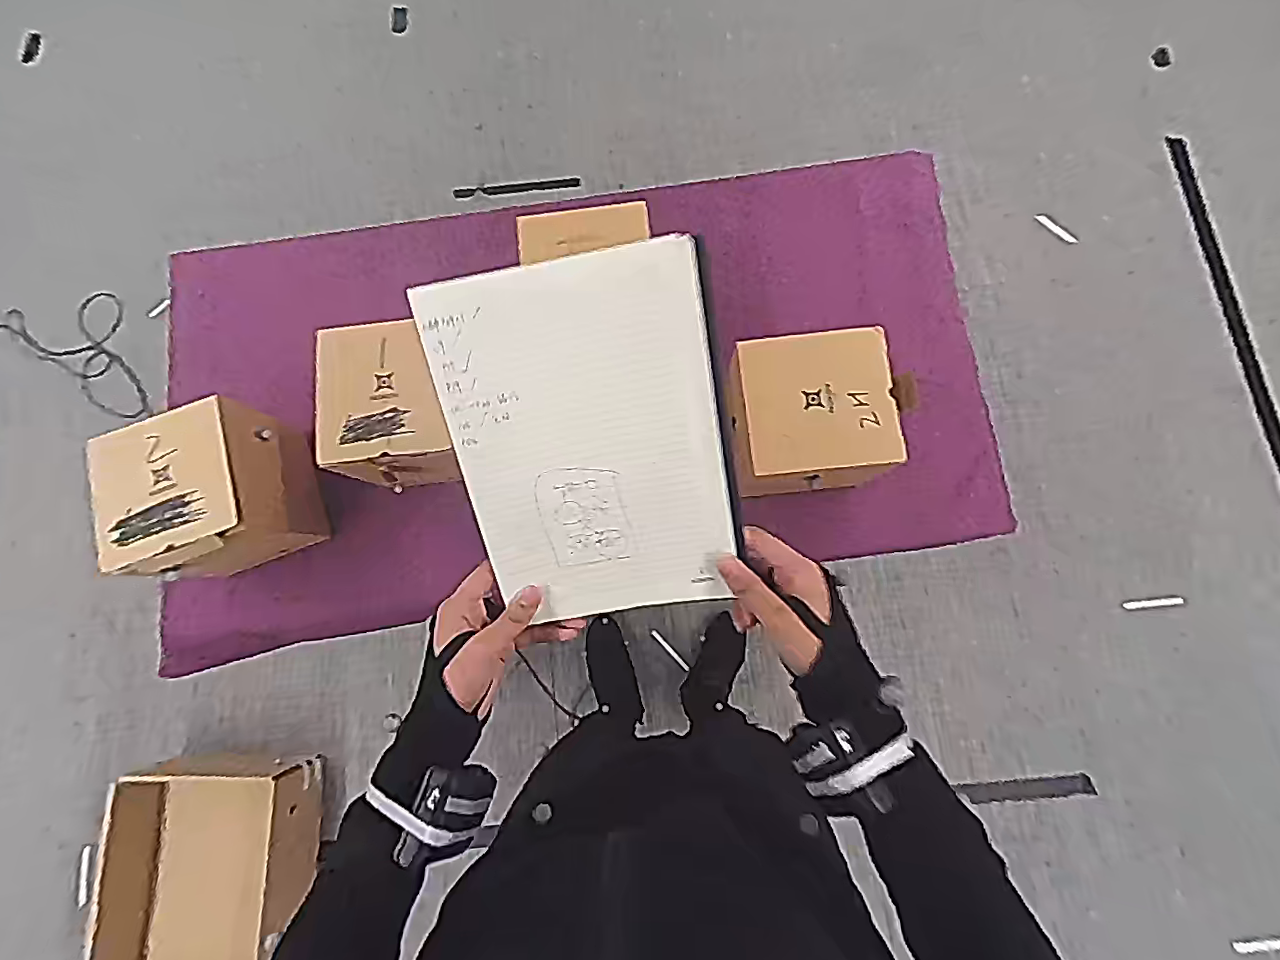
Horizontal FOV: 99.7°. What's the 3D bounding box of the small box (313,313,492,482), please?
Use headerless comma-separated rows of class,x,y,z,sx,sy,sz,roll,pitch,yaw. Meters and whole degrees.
small box,-0.303,-0.097,0.721,0.168,0.176,0.179,-6,79,1

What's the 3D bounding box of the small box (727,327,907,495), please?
small box,0.210,-0.077,0.695,0.179,0.176,0.168,-5,80,1
